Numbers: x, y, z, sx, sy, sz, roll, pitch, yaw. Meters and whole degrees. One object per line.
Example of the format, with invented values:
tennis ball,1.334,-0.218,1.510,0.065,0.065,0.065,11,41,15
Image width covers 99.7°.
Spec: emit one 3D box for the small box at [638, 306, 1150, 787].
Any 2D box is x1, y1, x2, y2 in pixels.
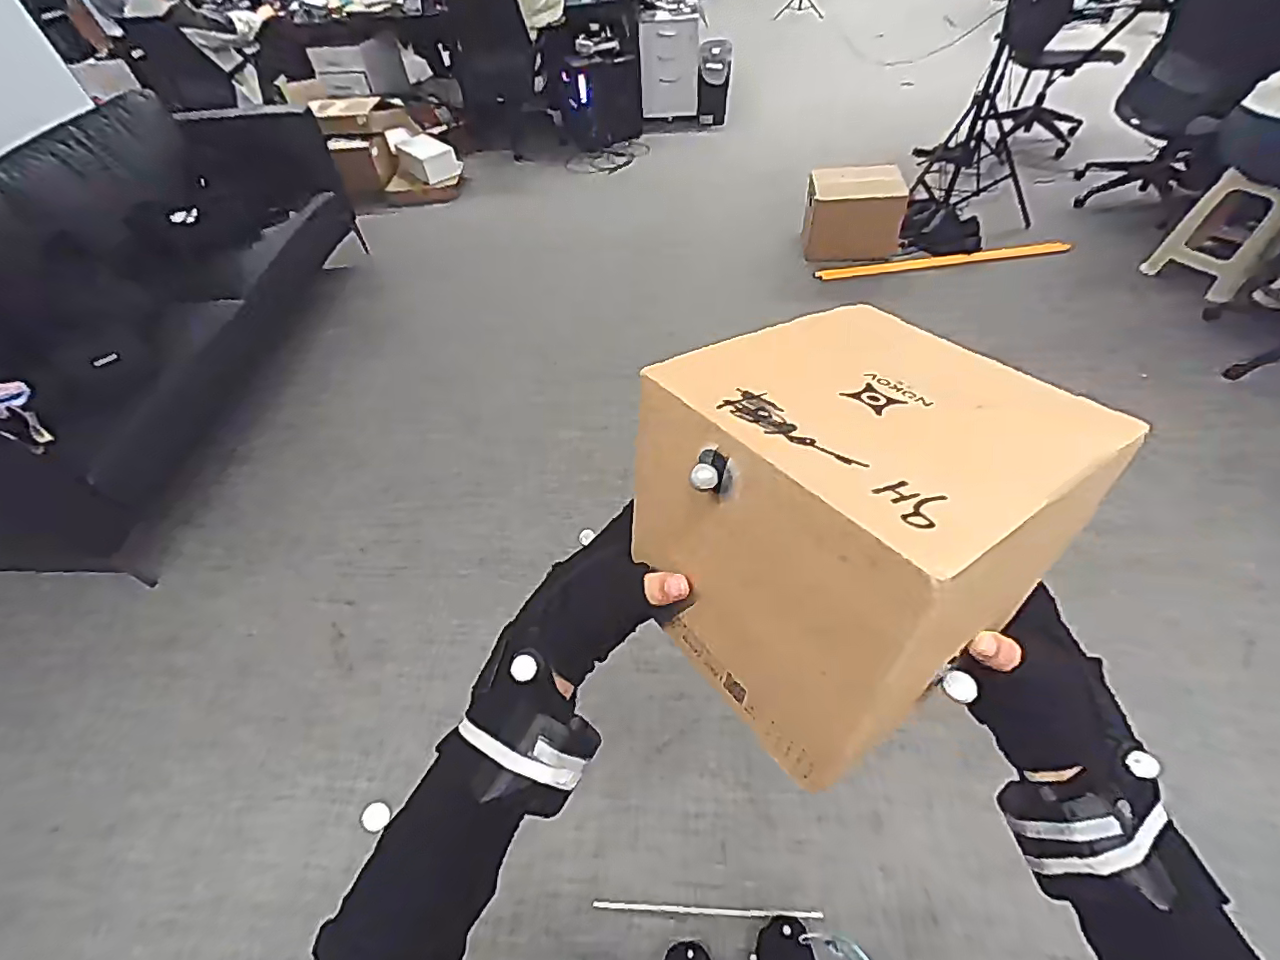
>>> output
small box,0.113,0.024,0.304,0.179,0.176,0.168,-22,45,-28
